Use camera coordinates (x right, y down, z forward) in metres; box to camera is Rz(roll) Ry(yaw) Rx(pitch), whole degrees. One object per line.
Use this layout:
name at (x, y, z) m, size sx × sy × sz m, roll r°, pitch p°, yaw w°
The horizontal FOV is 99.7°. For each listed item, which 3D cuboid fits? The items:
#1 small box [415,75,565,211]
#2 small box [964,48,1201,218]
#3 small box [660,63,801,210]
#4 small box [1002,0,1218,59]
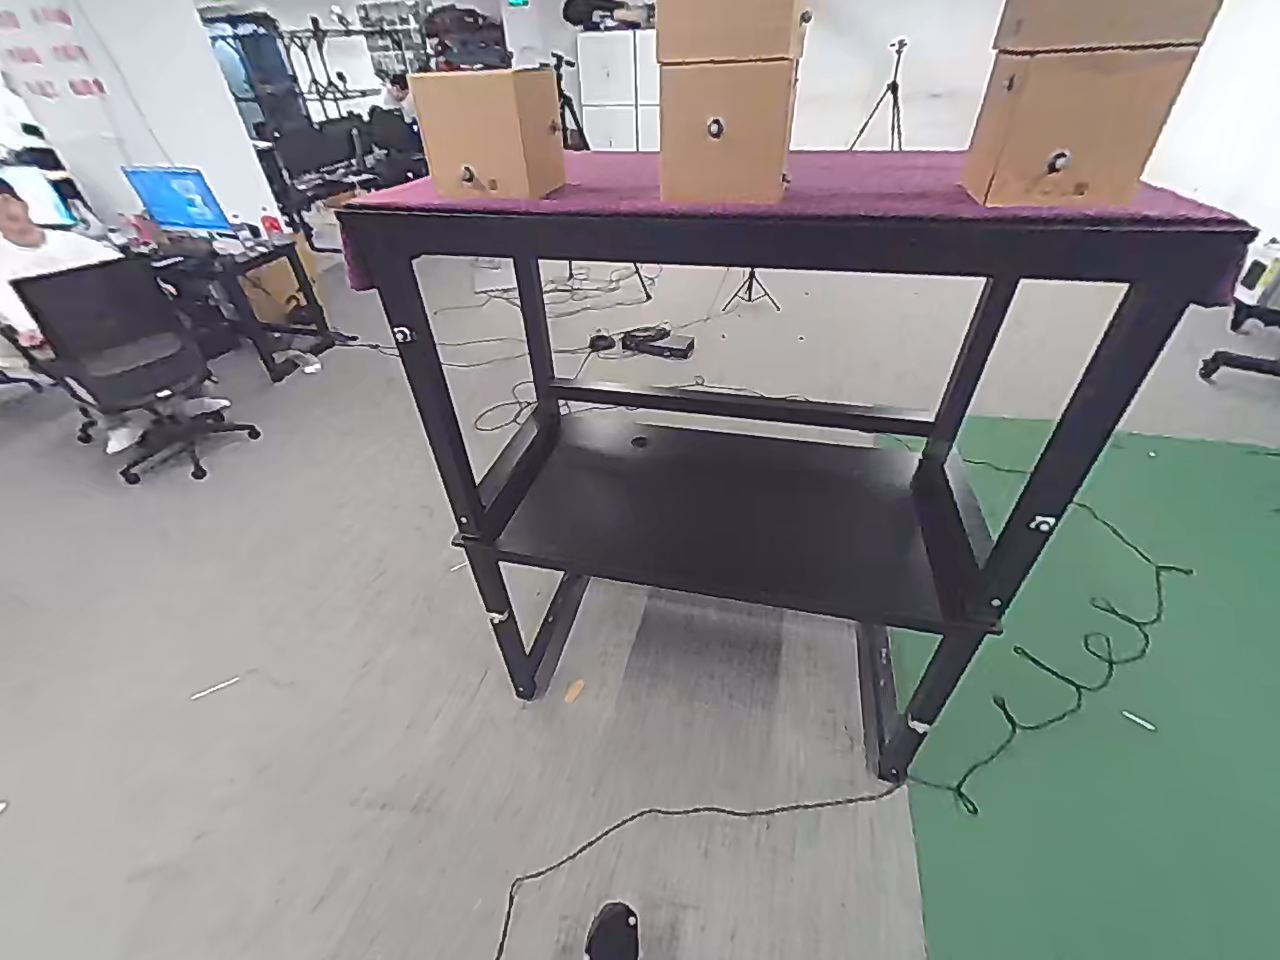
small box at (-0.226, -0.545, 0.872) m, size 0.168 × 0.176 × 0.179 m, roll 6°, pitch 38°, yaw 12°
small box at (0.555, -0.460, 0.715) m, size 0.168 × 0.176 × 0.179 m, roll 7°, pitch 40°, yaw 13°
small box at (0.135, -0.508, 0.802) m, size 0.179 × 0.176 × 0.168 m, roll 7°, pitch 38°, yaw 14°
small box at (0.539, -0.585, 0.609) m, size 0.179 × 0.176 × 0.168 m, roll 7°, pitch 40°, yaw 13°
